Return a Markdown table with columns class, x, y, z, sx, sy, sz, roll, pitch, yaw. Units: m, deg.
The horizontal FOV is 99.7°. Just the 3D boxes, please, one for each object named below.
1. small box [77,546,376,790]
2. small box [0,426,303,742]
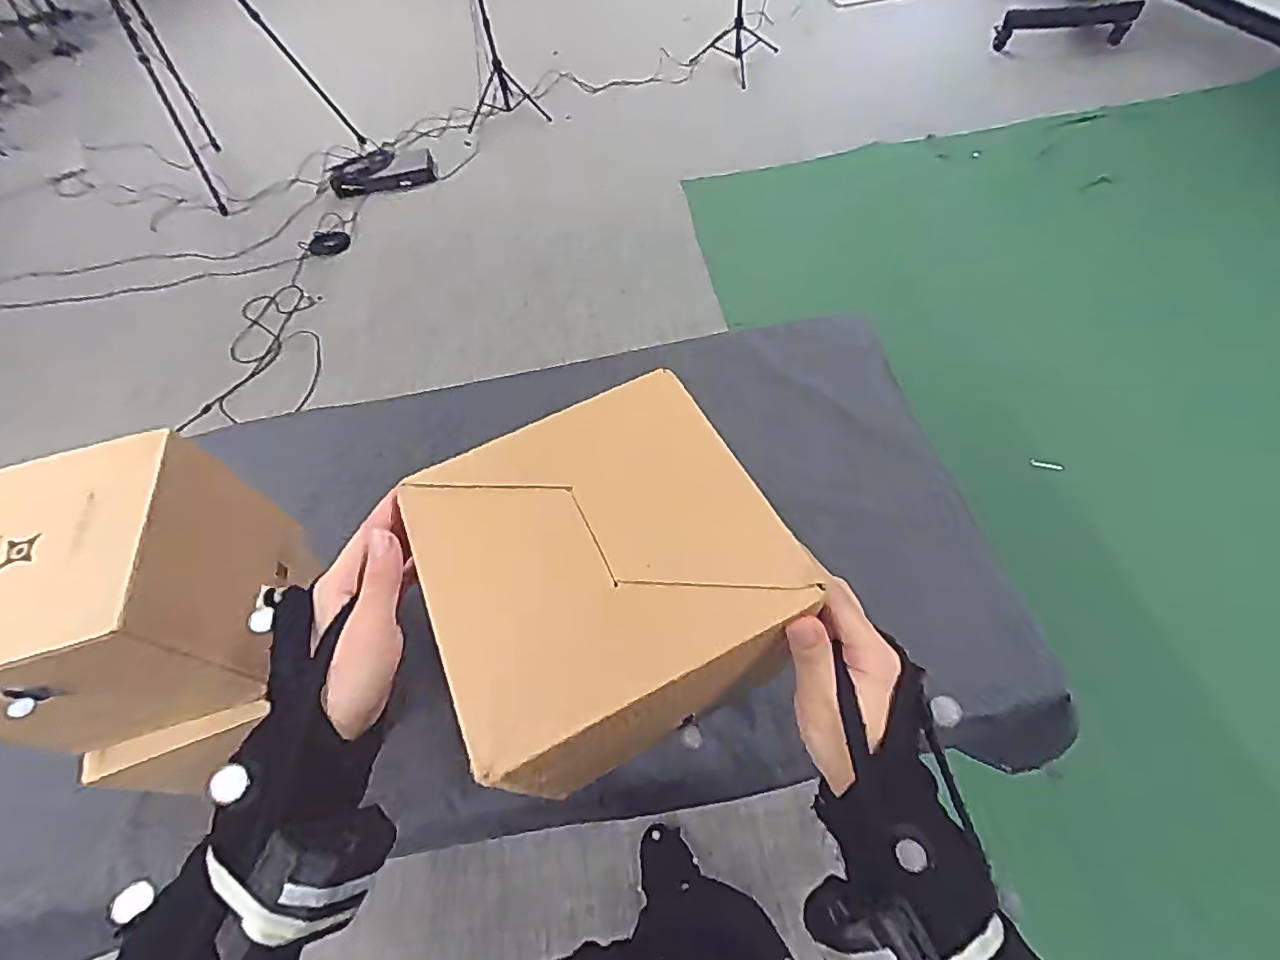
| class | x | y | z | sx | sy | sz | roll | pitch | yaw |
| --- | --- | --- | --- | --- | --- | --- | --- | --- | --- |
| small box | -0.392 | 0.191 | 0.551 | 0.168 | 0.176 | 0.179 | -19 | 58 | -7 |
| small box | -0.406 | 0.089 | 0.424 | 0.179 | 0.176 | 0.168 | -16 | 58 | -5 |
